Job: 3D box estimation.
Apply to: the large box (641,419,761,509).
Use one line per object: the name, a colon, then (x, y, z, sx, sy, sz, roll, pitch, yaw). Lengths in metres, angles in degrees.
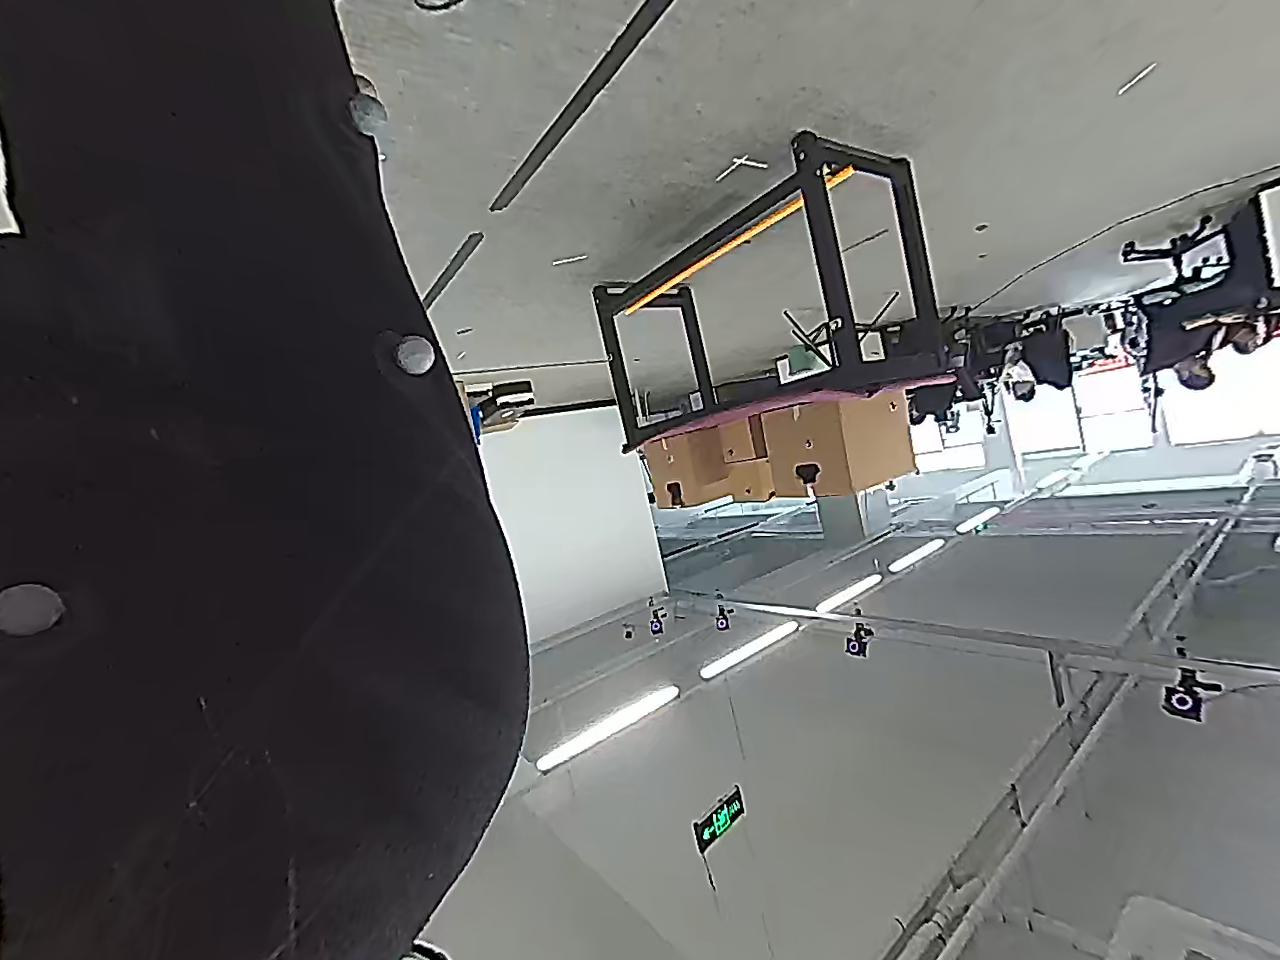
large box: (0.272, -0.074, 2.445, 0.408, 0.320, 0.320, -16, -176, -36)
